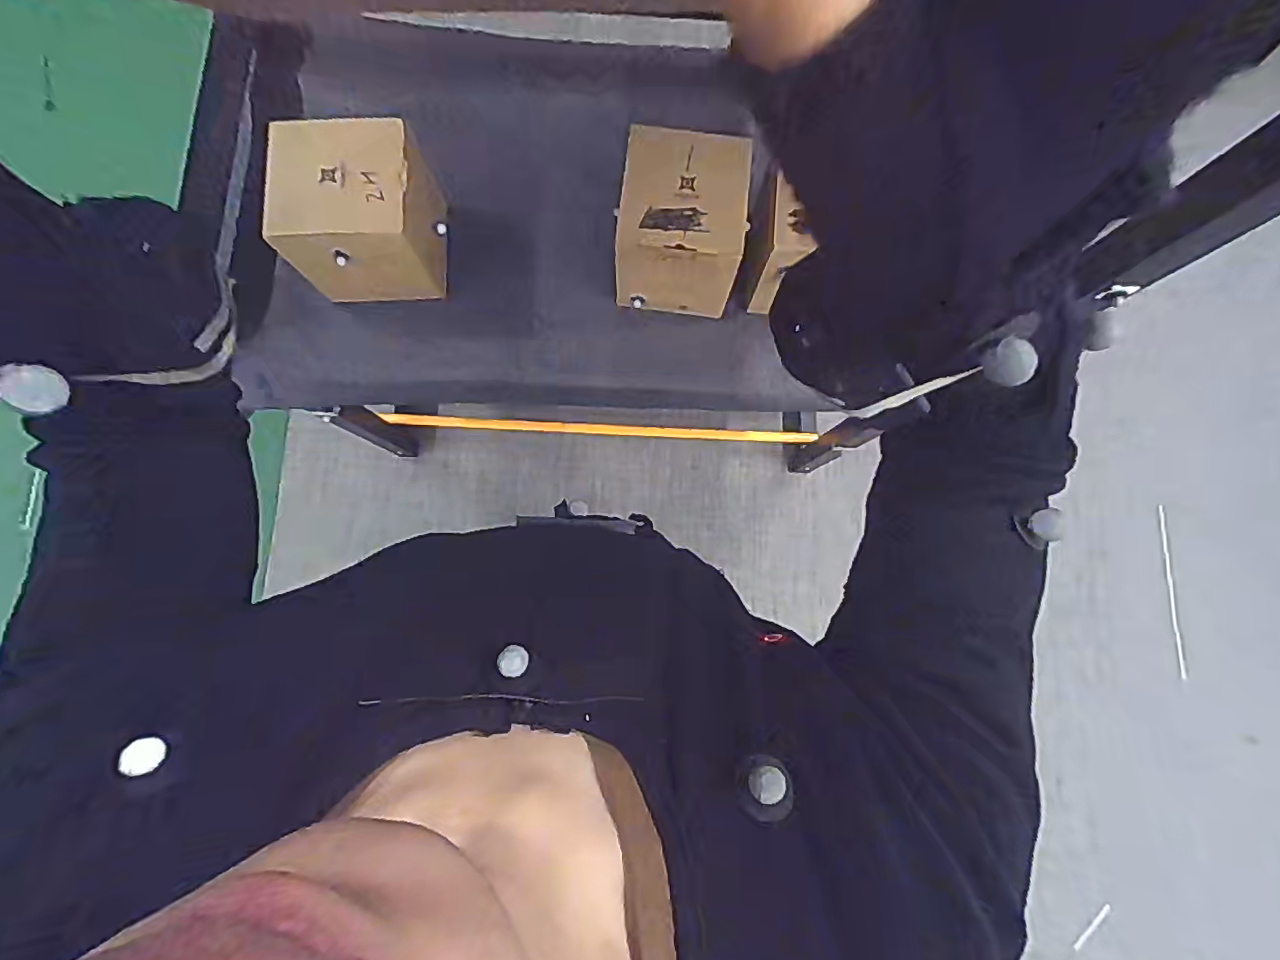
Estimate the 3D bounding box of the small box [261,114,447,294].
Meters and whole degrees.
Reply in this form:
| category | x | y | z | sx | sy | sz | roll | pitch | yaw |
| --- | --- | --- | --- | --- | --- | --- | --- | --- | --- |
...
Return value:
| category | x | y | z | sx | sy | sz | roll | pitch | yaw |
| --- | --- | --- | --- | --- | --- | --- | --- | --- | --- |
| small box | -0.390 | -0.378 | 0.765 | 0.179 | 0.176 | 0.168 | -2 | 81 | -3 |
